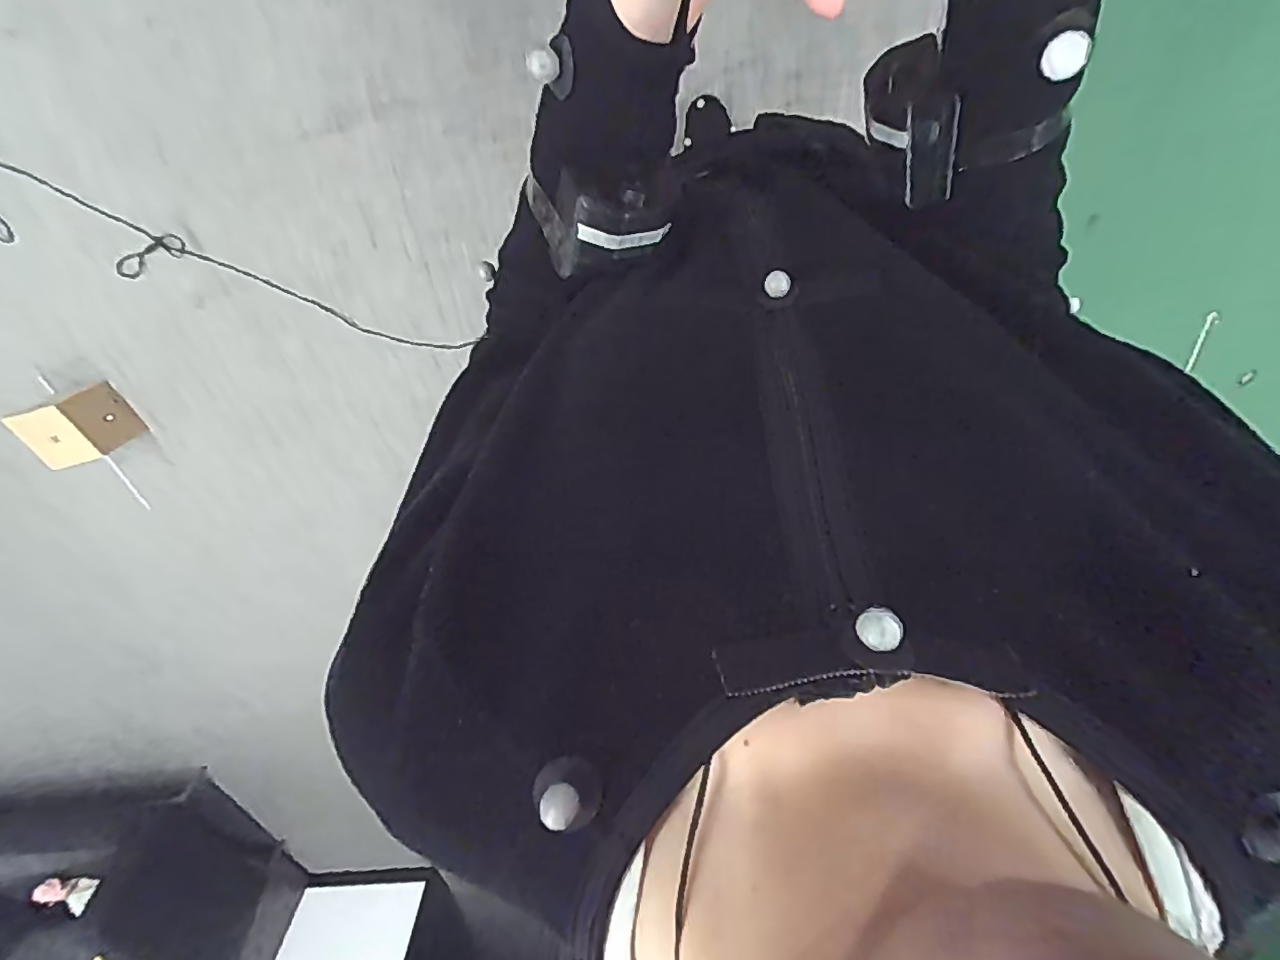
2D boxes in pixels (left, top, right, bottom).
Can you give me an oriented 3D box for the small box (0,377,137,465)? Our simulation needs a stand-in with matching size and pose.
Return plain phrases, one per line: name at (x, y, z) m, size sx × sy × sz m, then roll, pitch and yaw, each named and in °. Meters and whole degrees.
small box at (-1.569, -0.169, 1.502) m, size 0.179 × 0.176 × 0.168 m, roll -11°, pitch 123°, yaw 8°
